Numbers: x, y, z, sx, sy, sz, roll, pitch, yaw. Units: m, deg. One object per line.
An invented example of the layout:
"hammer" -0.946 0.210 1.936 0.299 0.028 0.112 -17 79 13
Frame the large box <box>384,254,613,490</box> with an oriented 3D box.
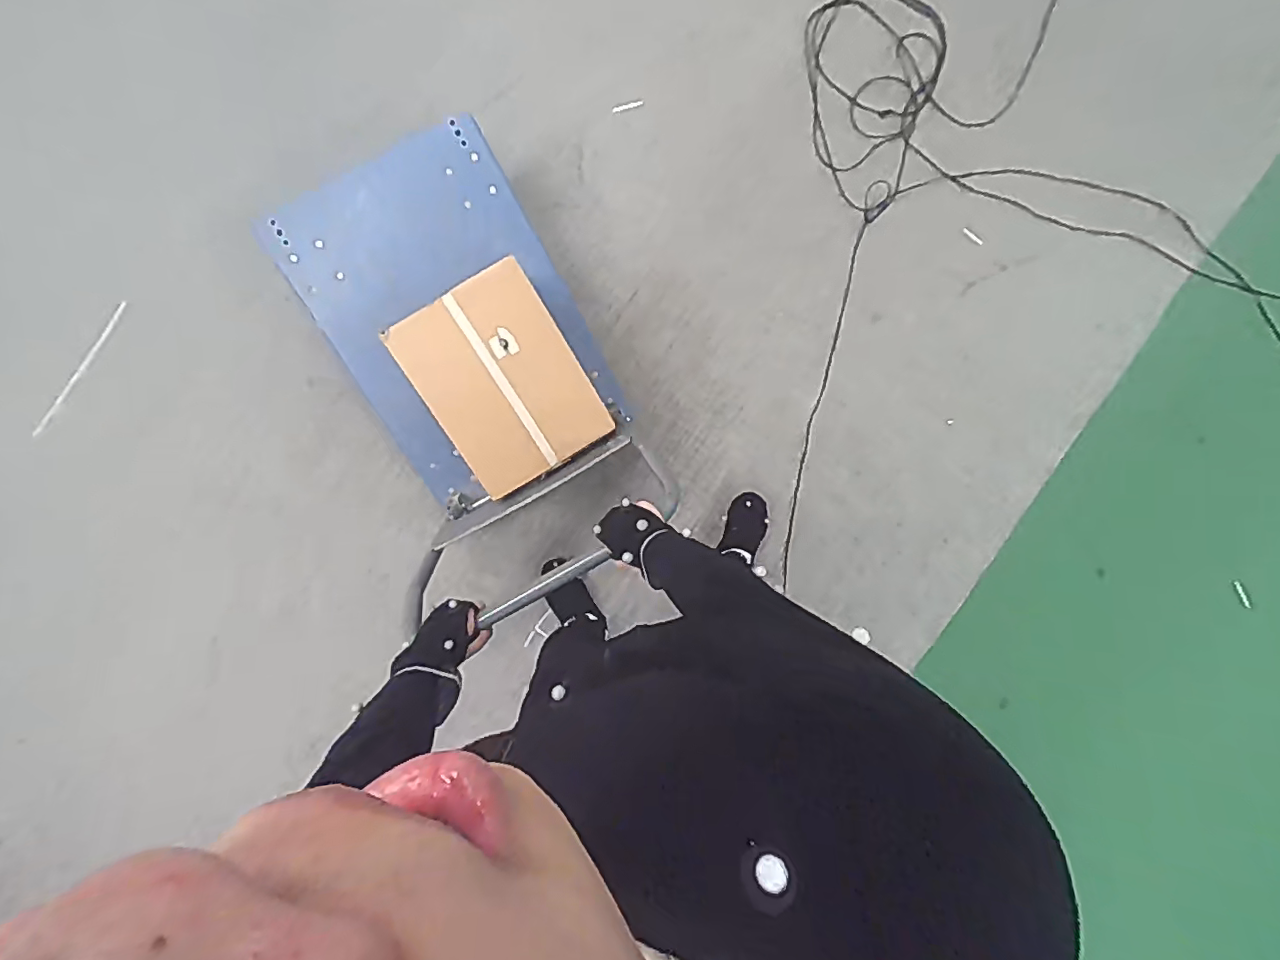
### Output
"large box" -0.303 -0.247 1.278 0.320 0.320 0.408 -32 104 0
